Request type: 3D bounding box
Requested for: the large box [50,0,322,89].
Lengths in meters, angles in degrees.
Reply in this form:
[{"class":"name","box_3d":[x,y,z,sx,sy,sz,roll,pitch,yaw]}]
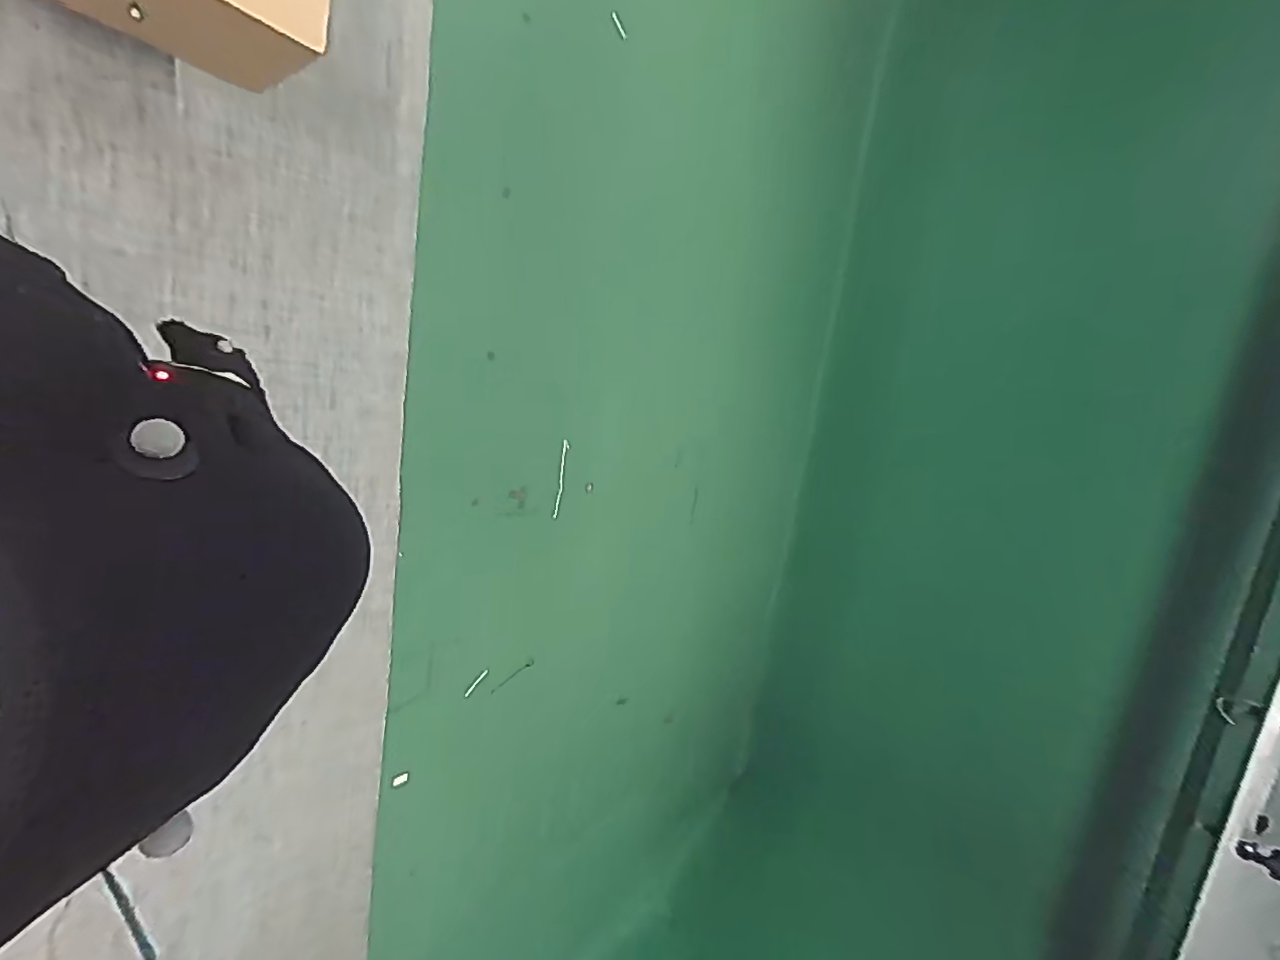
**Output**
[{"class":"large box","box_3d":[-0.732,-0.860,0.786,0.408,0.320,0.320,-2,103,-52]}]
